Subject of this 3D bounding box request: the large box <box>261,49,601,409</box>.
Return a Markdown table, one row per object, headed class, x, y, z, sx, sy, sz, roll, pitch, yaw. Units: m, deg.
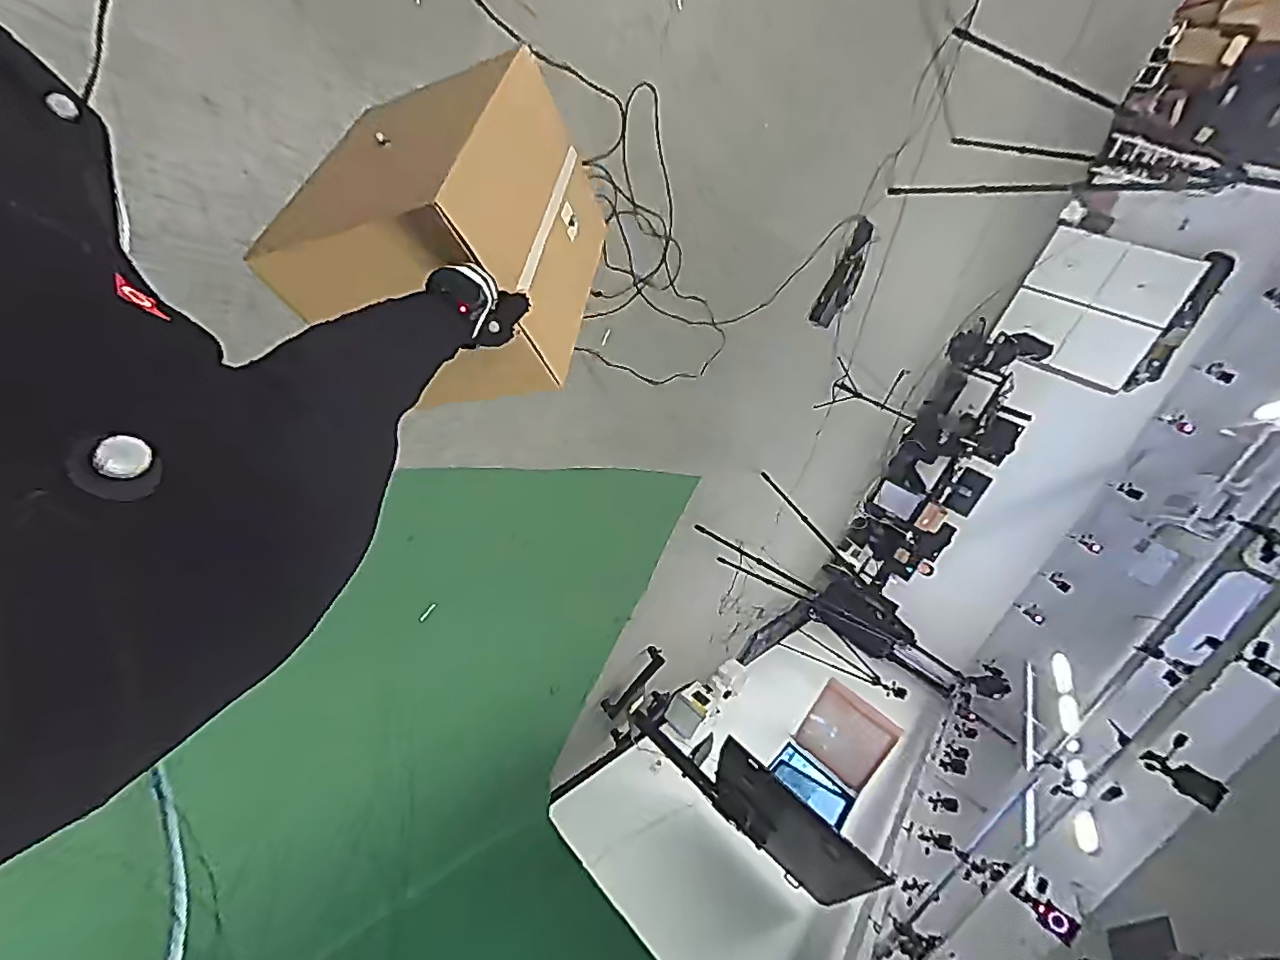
| class | x | y | z | sx | sy | sz | roll | pitch | yaw |
| --- | --- | --- | --- | --- | --- | --- | --- | --- | --- |
| large box | -0.289 | -0.375 | 0.866 | 0.320 | 0.320 | 0.408 | 58 | 34 | -52 |
